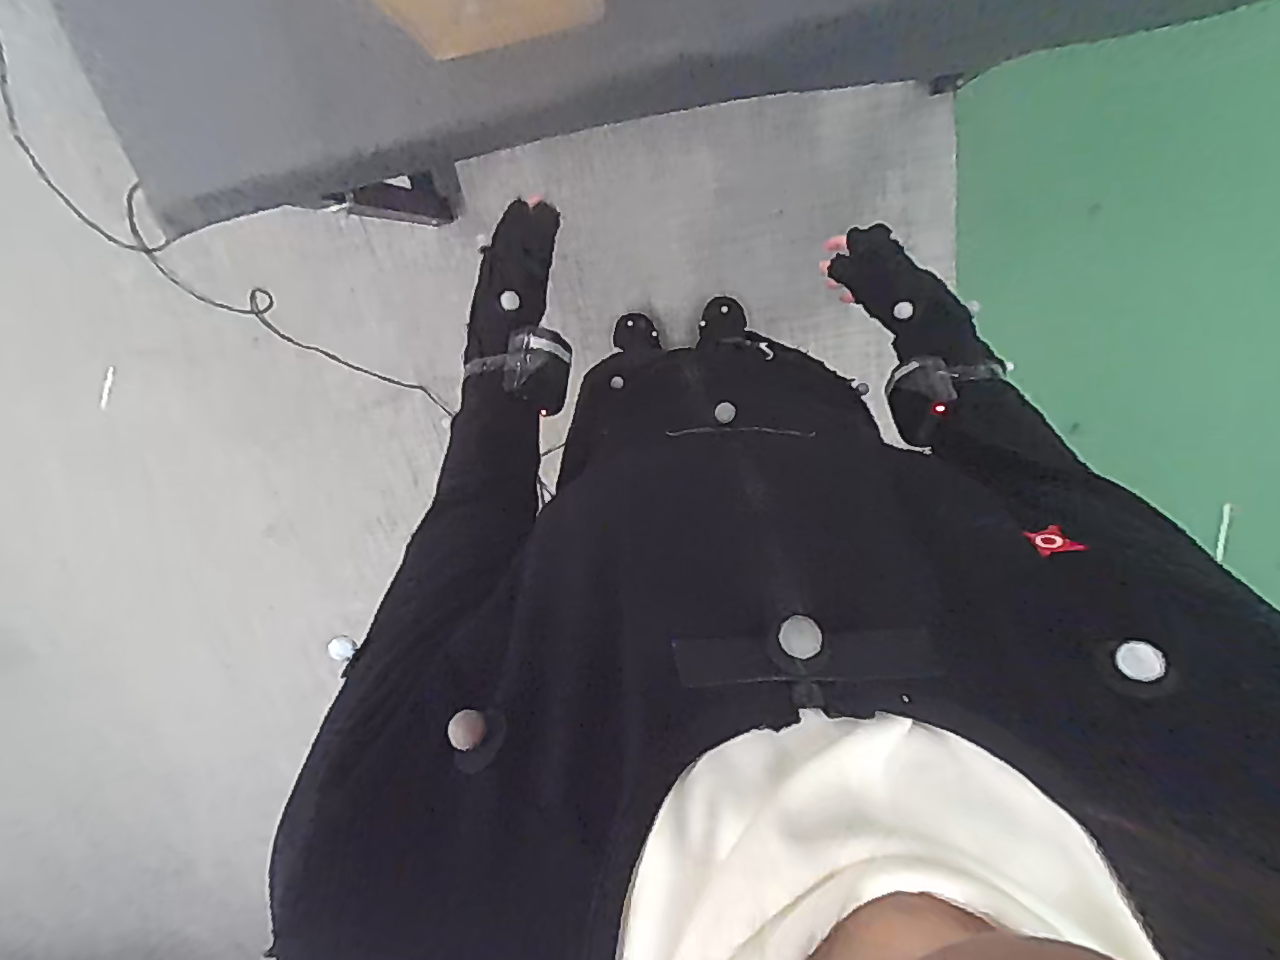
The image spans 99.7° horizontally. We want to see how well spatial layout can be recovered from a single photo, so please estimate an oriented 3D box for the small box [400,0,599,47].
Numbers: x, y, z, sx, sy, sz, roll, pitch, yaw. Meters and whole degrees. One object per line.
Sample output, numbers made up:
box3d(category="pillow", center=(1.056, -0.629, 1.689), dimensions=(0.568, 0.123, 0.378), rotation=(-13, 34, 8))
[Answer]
box3d(category="small box", center=(-0.137, -0.493, 0.437), dimensions=(0.179, 0.176, 0.168), rotation=(-8, 109, 7))
